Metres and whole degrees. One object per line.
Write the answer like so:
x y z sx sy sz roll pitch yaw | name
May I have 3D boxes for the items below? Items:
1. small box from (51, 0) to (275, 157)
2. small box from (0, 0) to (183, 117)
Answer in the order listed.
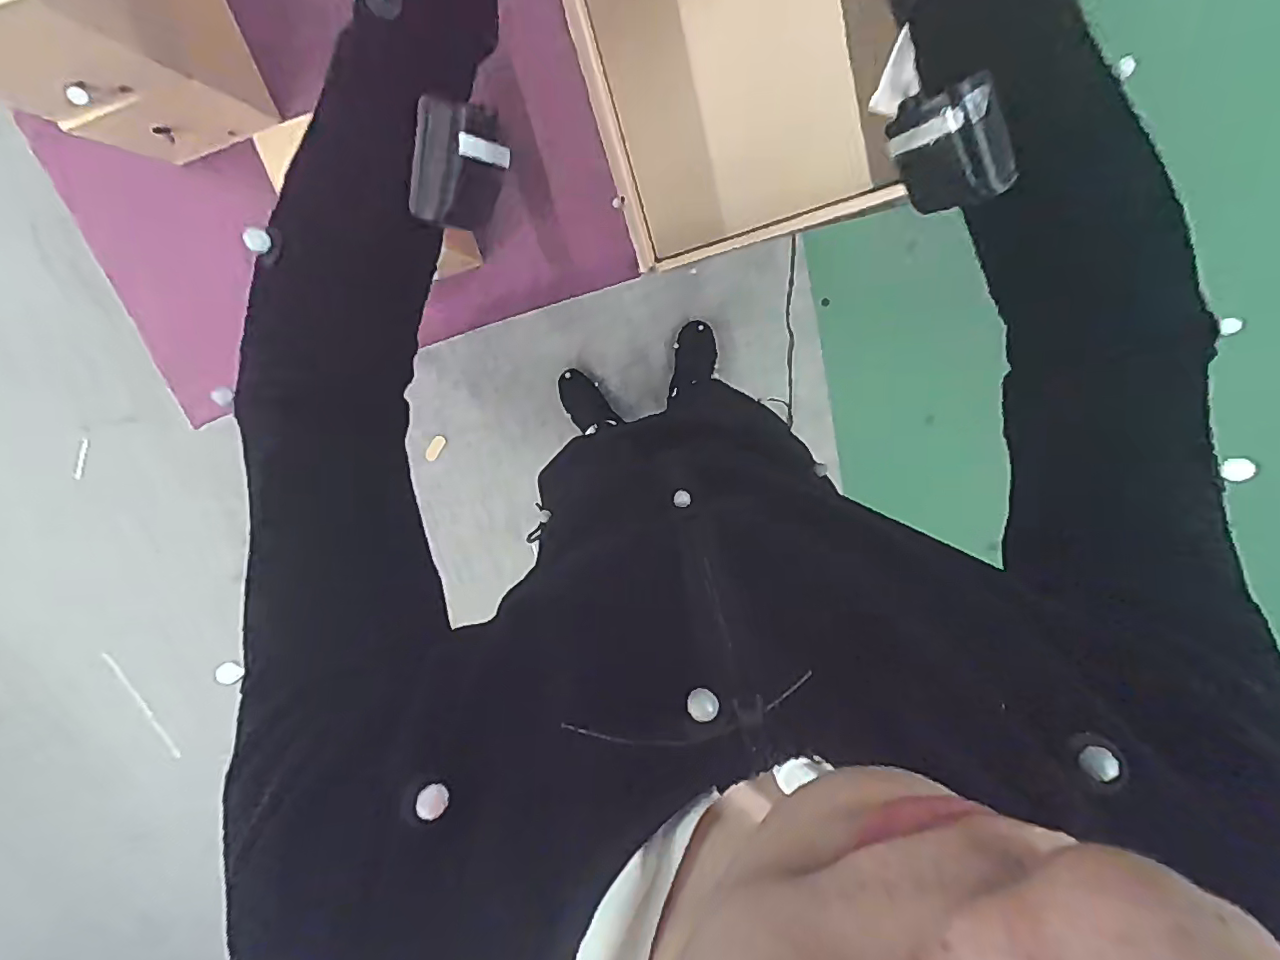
-0.590 -0.514 0.646 0.168 0.176 0.179 -18 106 5 | small box
-0.584 -0.470 0.487 0.168 0.176 0.179 -14 107 4 | small box
